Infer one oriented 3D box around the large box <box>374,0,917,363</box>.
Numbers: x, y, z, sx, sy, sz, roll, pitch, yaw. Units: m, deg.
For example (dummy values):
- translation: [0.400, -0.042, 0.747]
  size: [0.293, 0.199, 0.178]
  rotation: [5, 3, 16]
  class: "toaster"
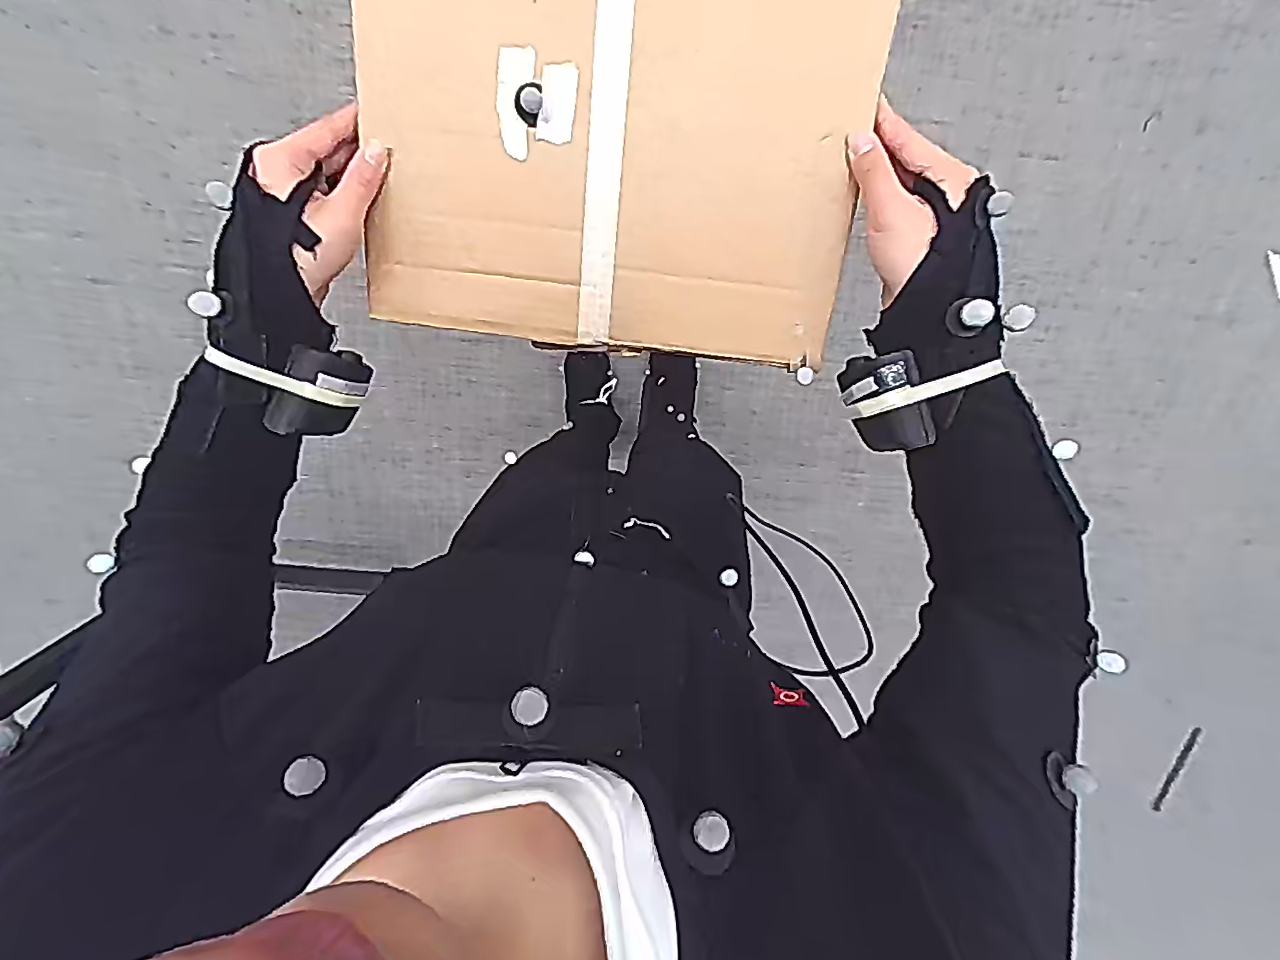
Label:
- translation: [0.007, -0.330, 0.440]
  size: [0.320, 0.320, 0.408]
  rotation: [7, 110, 2]
  class: "large box"
